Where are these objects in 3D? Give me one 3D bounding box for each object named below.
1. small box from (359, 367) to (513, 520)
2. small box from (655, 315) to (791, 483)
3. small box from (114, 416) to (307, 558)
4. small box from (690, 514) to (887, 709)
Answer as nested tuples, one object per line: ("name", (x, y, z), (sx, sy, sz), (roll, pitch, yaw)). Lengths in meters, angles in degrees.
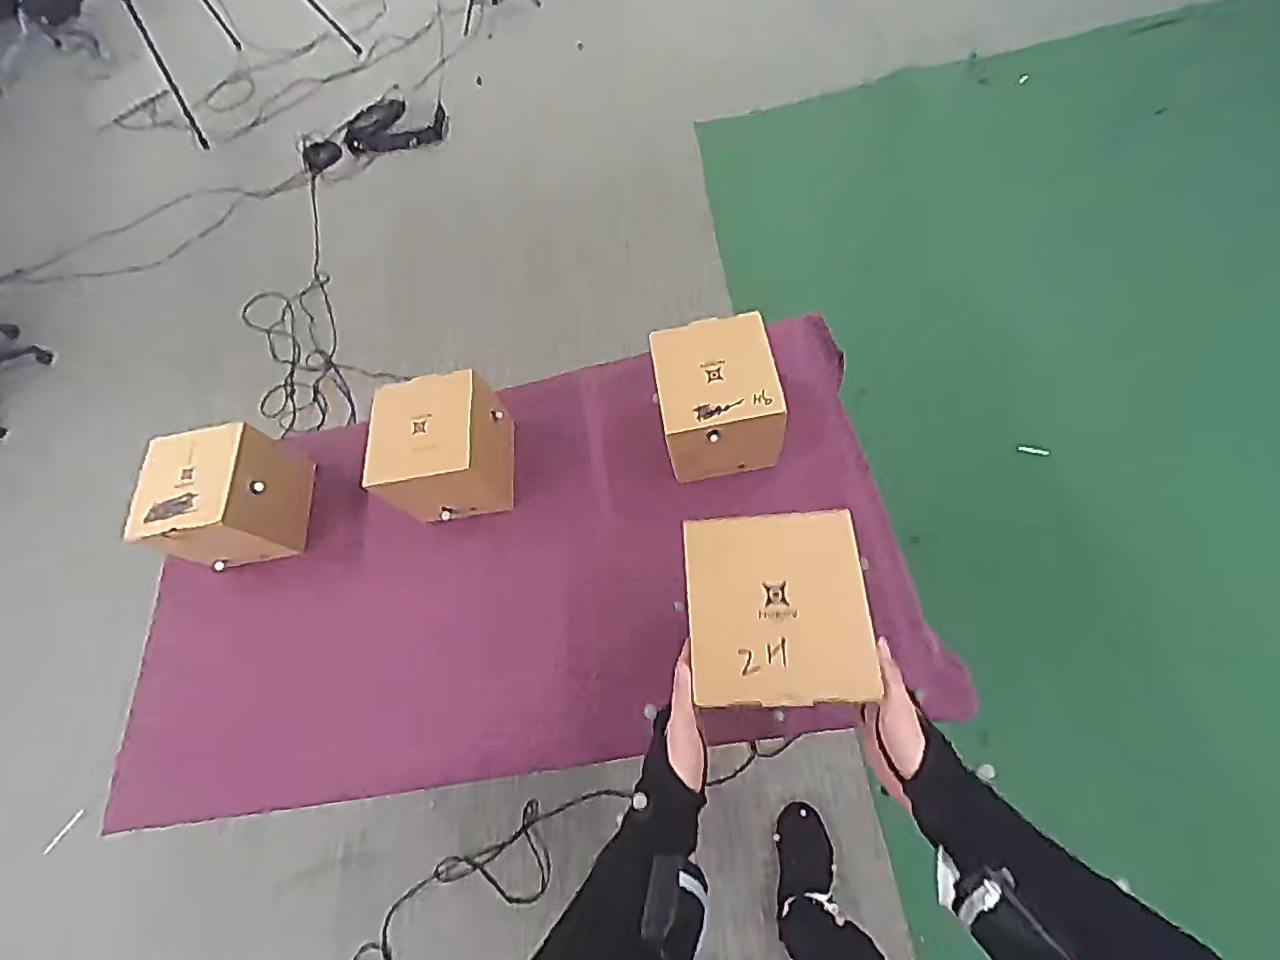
("small box", (-0.310, -0.051, 0.857), (0.168, 0.176, 0.179), (-8, 67, 6))
("small box", (0.120, -0.115, 0.813), (0.168, 0.176, 0.179), (-9, 66, 6))
("small box", (-0.680, 0.021, 0.880), (0.168, 0.176, 0.179), (-9, 66, 5))
("small box", (0.140, 0.147, 0.573), (0.168, 0.176, 0.179), (-4, 68, 7))
